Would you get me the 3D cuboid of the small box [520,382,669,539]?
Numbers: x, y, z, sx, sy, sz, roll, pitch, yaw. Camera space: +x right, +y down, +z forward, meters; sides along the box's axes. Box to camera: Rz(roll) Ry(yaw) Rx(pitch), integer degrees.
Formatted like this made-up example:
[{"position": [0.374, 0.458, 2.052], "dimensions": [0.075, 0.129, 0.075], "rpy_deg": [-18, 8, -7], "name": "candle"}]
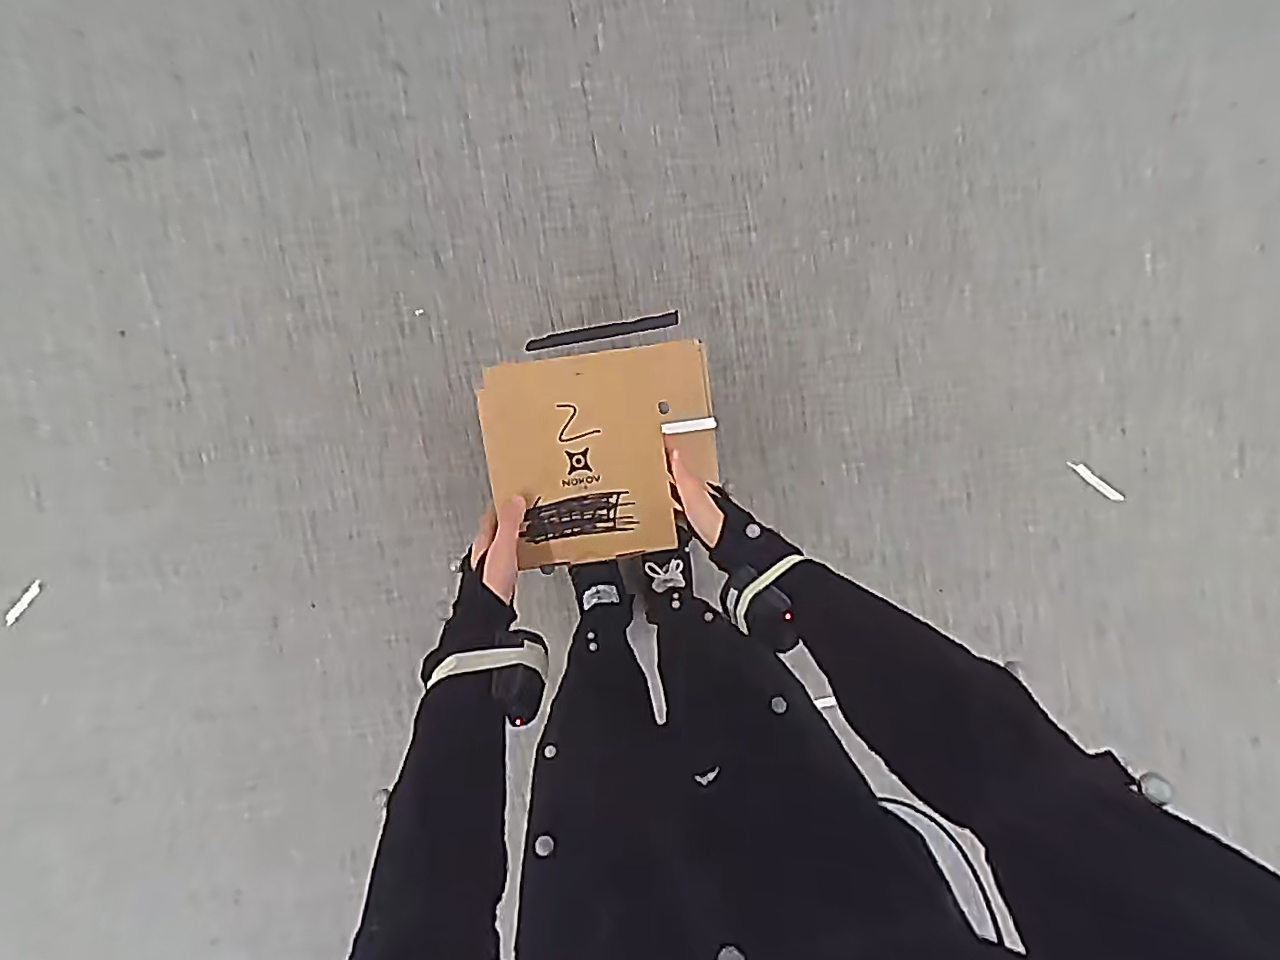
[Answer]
[{"position": [-0.058, -0.029, 0.747], "dimensions": [0.168, 0.176, 0.179], "rpy_deg": [-9, 96, 0], "name": "small box"}]
